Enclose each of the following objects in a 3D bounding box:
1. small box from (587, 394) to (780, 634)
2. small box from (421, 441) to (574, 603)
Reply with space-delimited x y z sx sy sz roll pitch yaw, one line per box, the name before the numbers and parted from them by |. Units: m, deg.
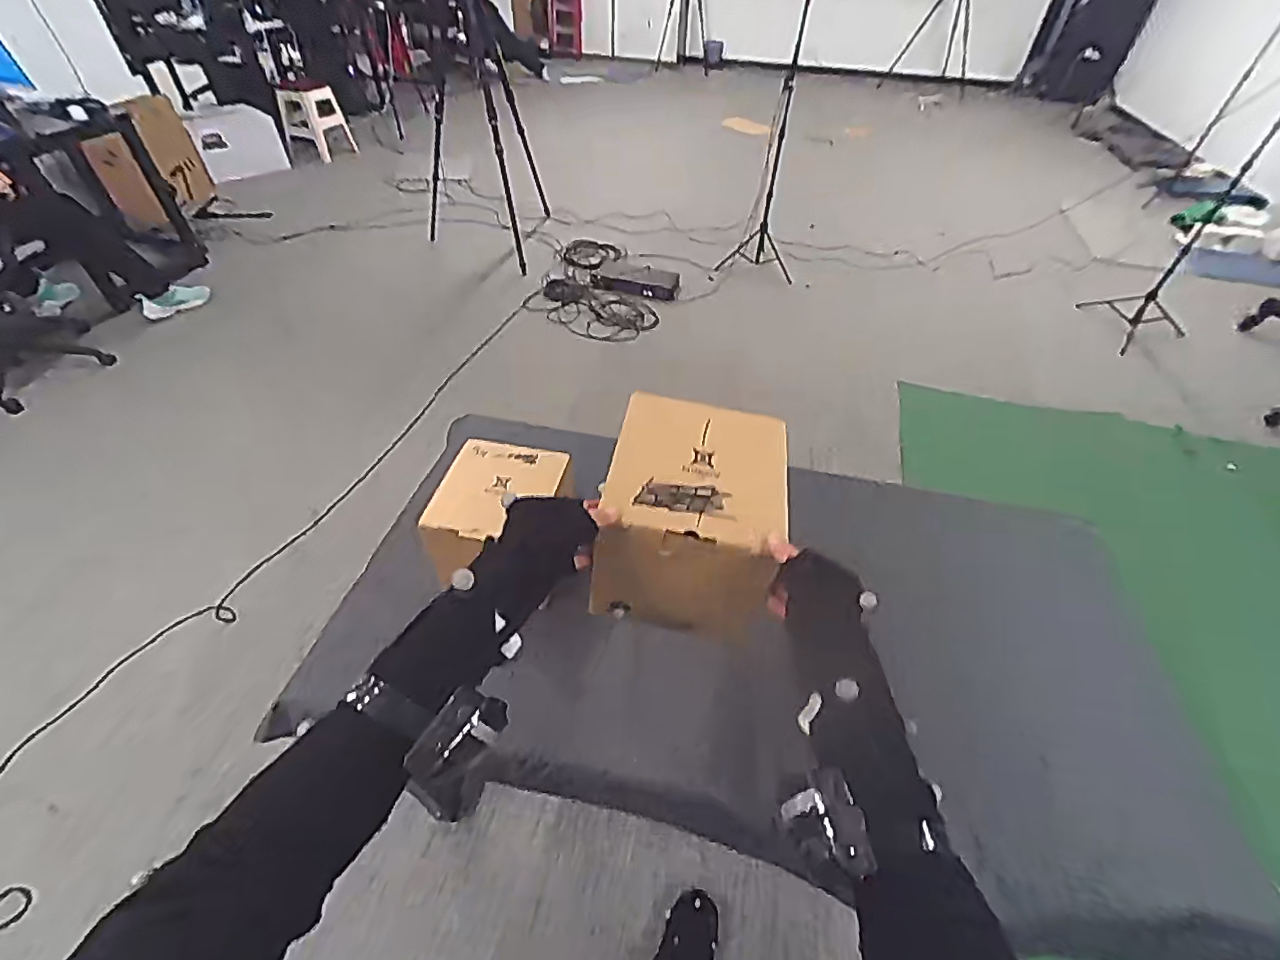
small box | 0.045 0.038 0.569 0.168 0.176 0.179 11 47 3
small box | -0.204 0.068 0.838 0.168 0.176 0.179 9 47 6
